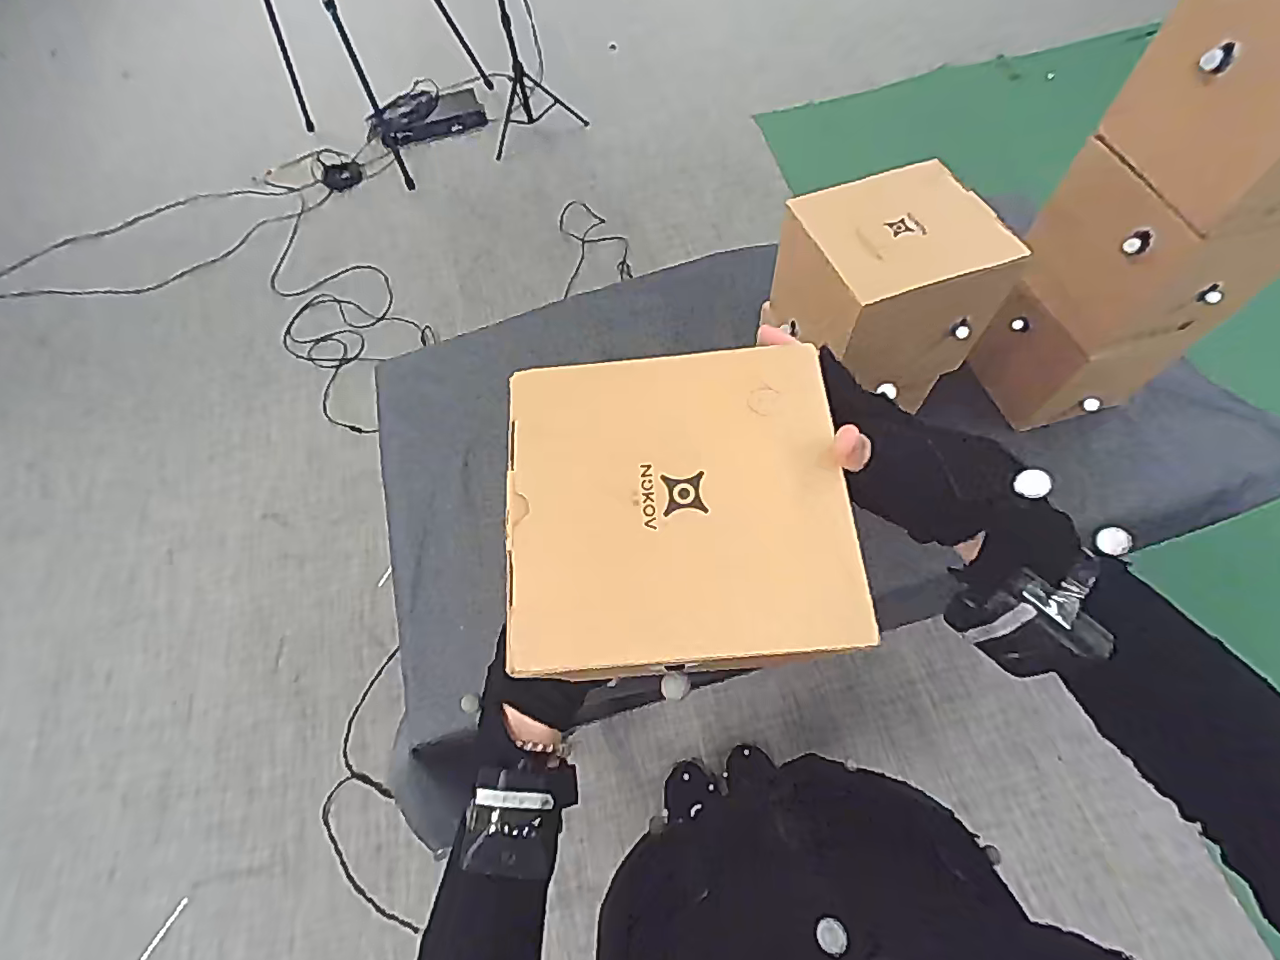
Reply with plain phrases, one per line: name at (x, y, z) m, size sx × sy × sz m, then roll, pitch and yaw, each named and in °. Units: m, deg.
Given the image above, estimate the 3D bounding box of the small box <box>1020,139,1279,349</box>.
small box at (0.582, -0.269, 0.612) m, size 0.168 × 0.176 × 0.179 m, roll -13°, pitch 62°, yaw -2°

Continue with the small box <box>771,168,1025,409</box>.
small box at (0.267, -0.208, 0.611) m, size 0.179 × 0.176 × 0.168 m, roll -17°, pitch 61°, yaw -4°

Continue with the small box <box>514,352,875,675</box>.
small box at (0.025, 0.037, 0.359) m, size 0.179 × 0.176 × 0.168 m, roll -5°, pitch 69°, yaw 2°
